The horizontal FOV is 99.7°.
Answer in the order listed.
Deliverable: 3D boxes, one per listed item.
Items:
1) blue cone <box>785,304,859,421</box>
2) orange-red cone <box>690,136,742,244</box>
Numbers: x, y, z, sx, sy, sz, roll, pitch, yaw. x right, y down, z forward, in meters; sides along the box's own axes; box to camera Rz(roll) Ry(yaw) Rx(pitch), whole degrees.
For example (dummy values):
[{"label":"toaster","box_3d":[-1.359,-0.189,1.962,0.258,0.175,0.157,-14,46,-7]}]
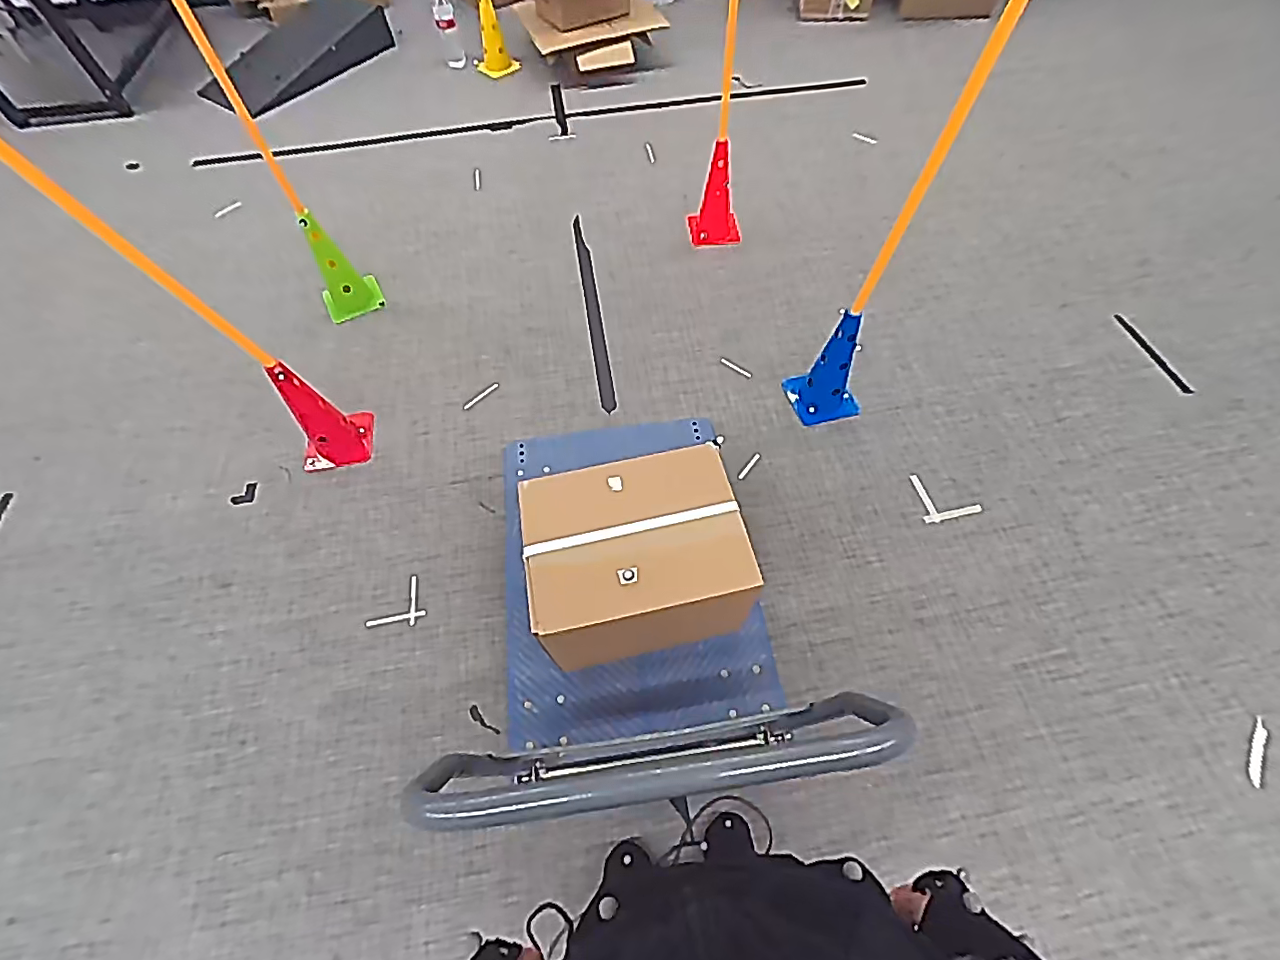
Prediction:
[{"label":"blue cone","box_3d":[0.585,-0.361,1.619,0.193,0.380,0.192,-12,59,-6]},{"label":"orange-red cone","box_3d":[0.306,-1.113,2.052,0.199,0.360,0.198,-3,60,-1]}]
